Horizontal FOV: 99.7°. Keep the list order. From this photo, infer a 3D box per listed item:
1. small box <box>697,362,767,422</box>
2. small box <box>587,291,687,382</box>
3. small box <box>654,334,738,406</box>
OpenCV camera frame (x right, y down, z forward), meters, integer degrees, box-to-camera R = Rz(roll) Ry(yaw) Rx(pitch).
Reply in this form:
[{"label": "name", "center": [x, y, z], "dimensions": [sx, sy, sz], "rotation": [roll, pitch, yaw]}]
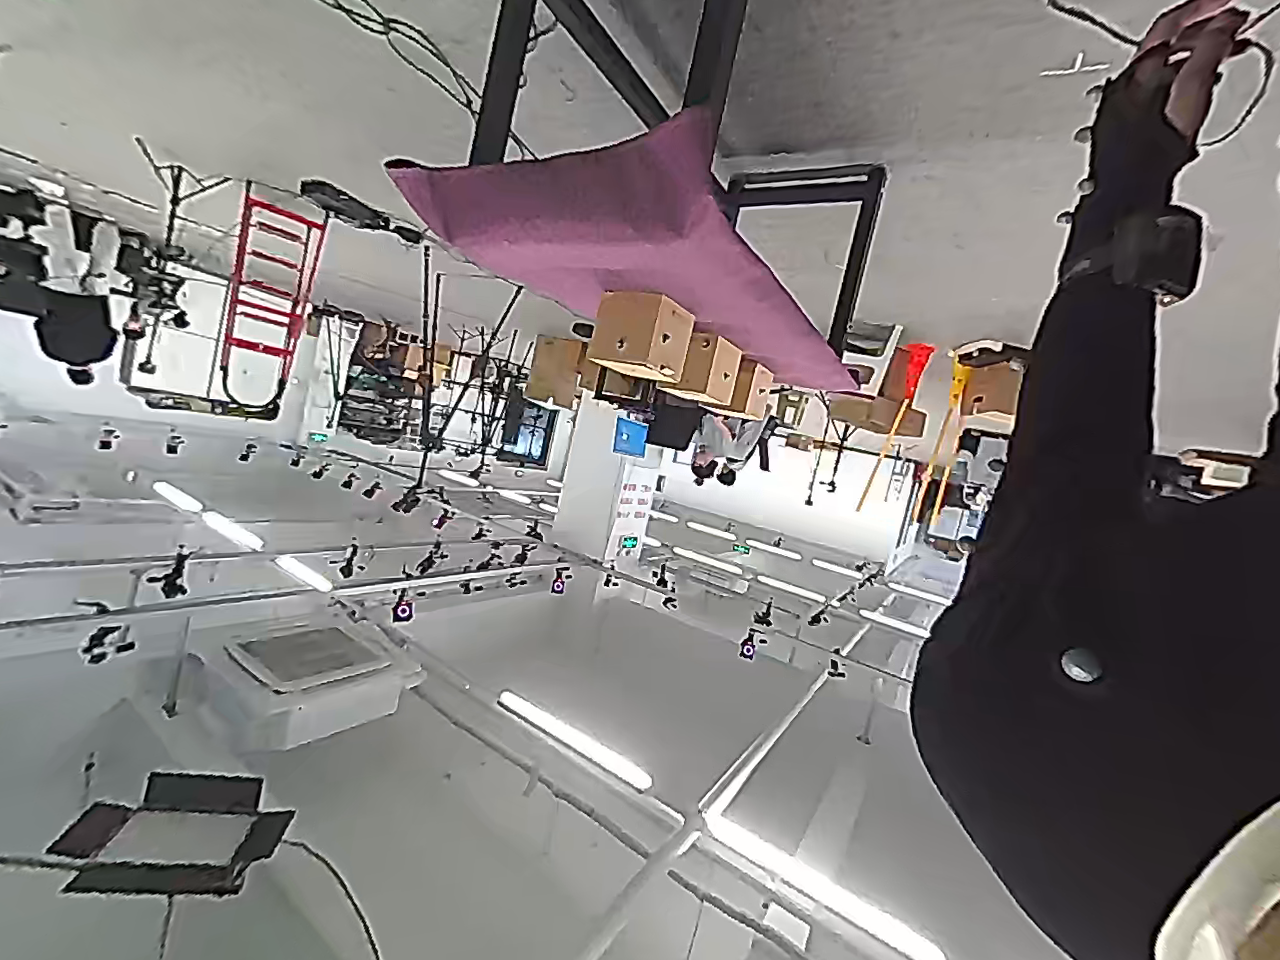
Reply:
[{"label": "small box", "center": [0.316, -0.303, 1.825], "dimensions": [0.179, 0.176, 0.168], "rotation": [14, -177, 32]}, {"label": "small box", "center": [-0.001, -0.345, 1.304], "dimensions": [0.179, 0.176, 0.168], "rotation": [16, -176, 31]}, {"label": "small box", "center": [0.166, -0.323, 1.576], "dimensions": [0.168, 0.176, 0.179], "rotation": [15, -175, 32]}]
